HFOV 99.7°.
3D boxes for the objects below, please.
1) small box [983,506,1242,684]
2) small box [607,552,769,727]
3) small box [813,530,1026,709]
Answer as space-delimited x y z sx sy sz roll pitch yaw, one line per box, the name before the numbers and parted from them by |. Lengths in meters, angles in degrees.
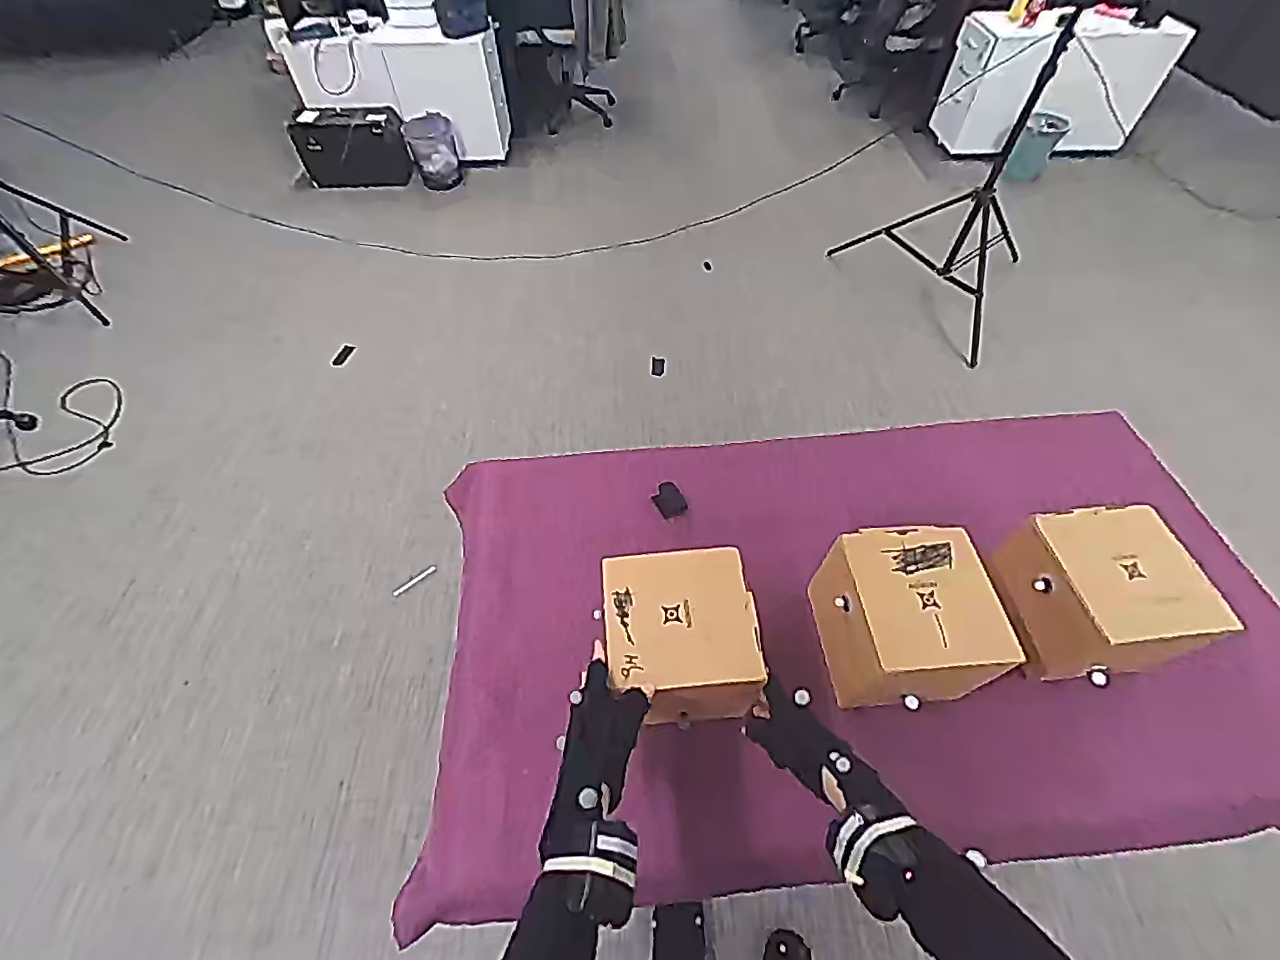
small box | 0.608 0.158 0.733 0.168 0.176 0.179 -6 54 -2
small box | 0.049 0.209 0.698 0.179 0.176 0.168 -4 53 -4
small box | 0.344 0.185 0.713 0.168 0.176 0.179 -4 54 -2
